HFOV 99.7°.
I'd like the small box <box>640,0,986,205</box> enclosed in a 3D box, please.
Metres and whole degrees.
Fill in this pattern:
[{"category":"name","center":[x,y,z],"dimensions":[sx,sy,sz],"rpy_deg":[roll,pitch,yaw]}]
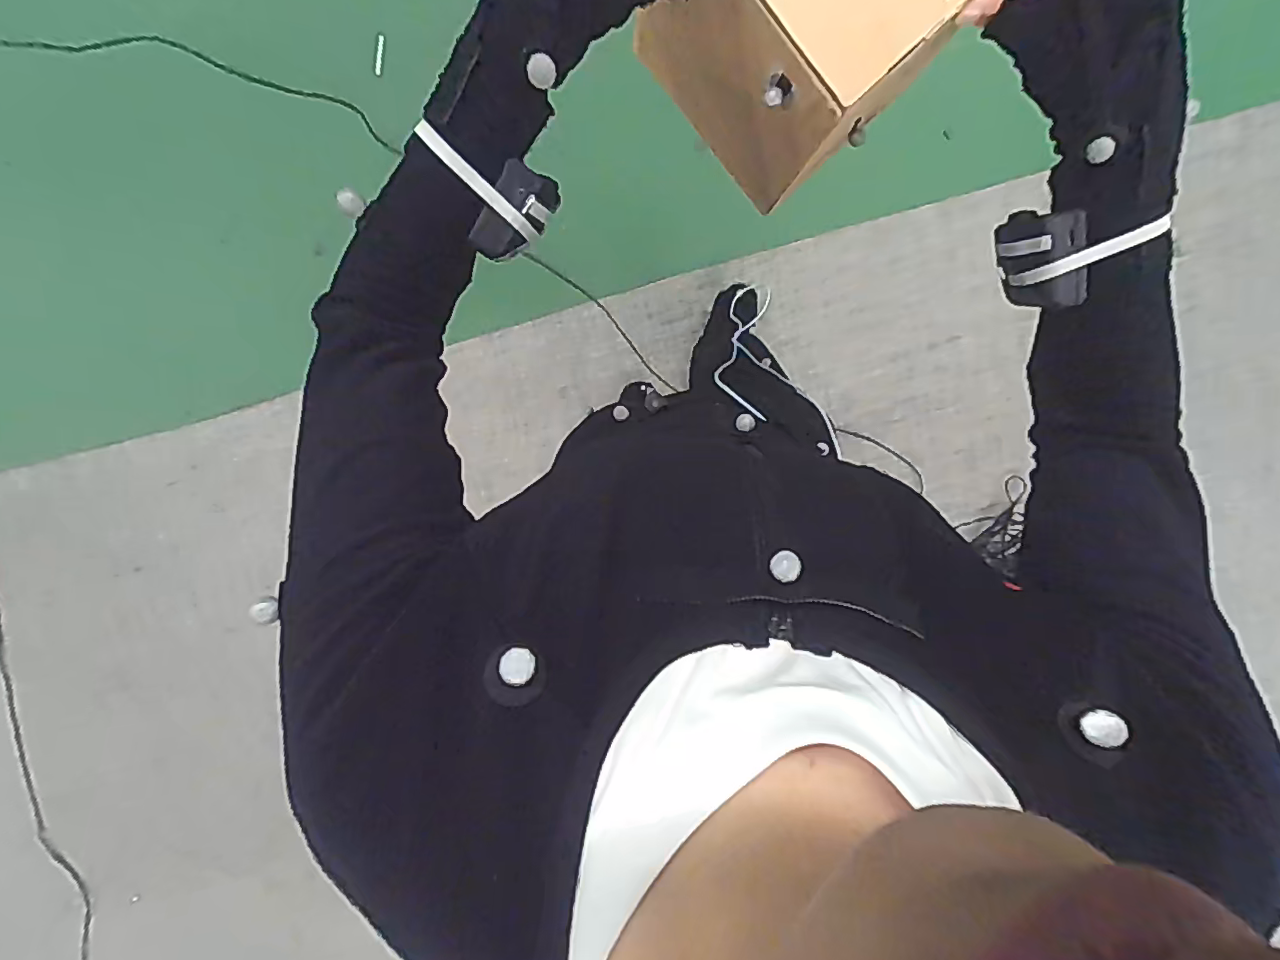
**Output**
[{"category":"small box","center":[0.115,-0.338,0.380],"dimensions":[0.168,0.176,0.179],"rpy_deg":[-42,99,2]}]
